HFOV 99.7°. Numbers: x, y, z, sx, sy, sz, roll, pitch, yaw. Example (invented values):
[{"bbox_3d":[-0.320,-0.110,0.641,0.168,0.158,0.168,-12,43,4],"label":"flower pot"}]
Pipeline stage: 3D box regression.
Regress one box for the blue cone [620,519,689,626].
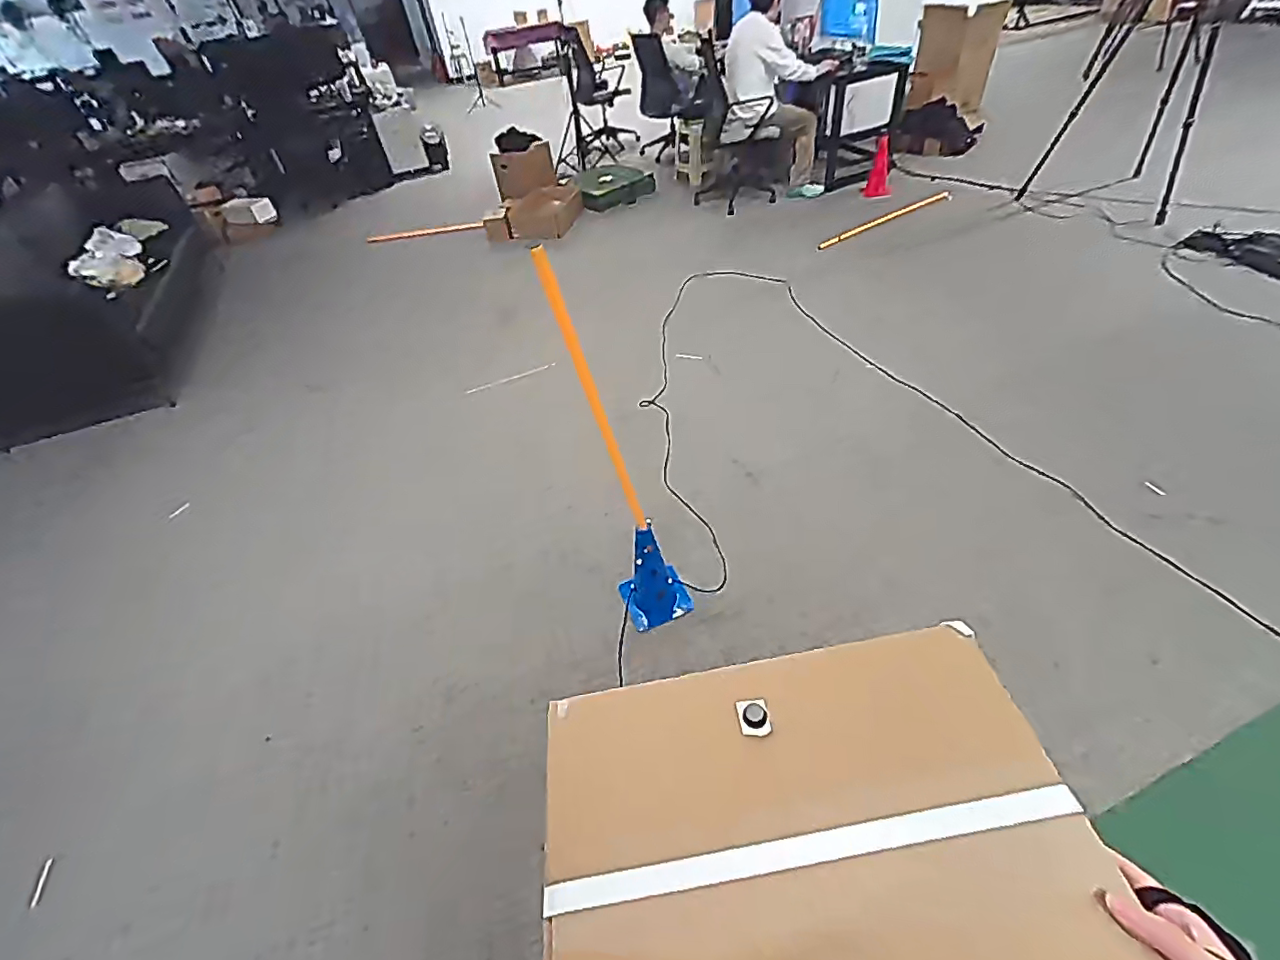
[{"bbox_3d":[0.026,0.258,1.632,0.193,0.380,0.192,-23,46,-12],"label":"blue cone"}]
